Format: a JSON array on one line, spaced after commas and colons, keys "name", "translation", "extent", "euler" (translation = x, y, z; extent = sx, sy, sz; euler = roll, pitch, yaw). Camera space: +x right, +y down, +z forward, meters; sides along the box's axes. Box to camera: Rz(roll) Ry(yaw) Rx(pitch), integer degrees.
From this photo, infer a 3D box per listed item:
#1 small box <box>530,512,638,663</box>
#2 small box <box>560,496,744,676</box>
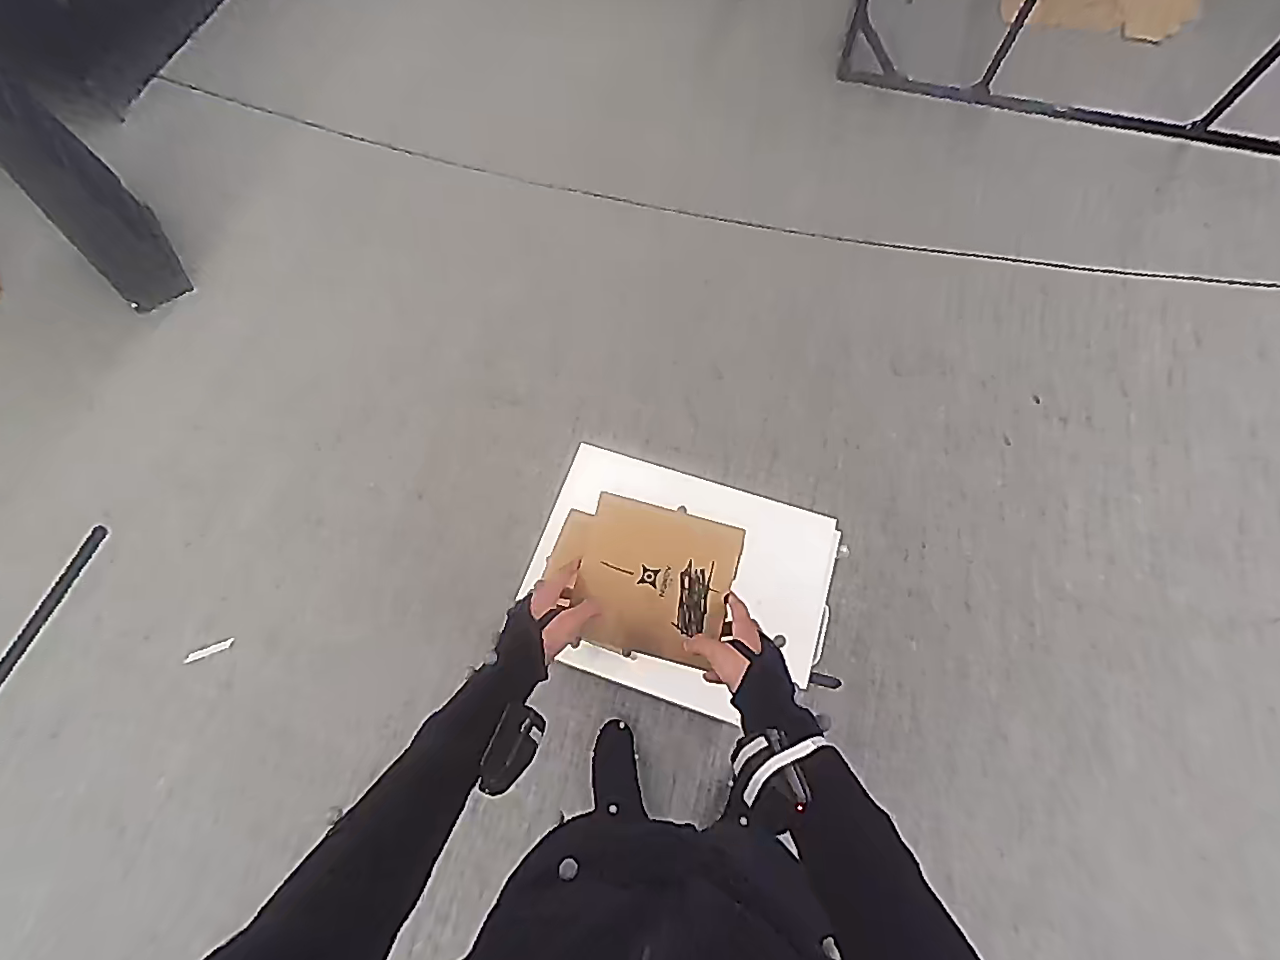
[{"name": "small box", "translation": [-0.056, 0.180, 0.874], "extent": [0.168, 0.176, 0.179], "euler": [18, 69, 9]}, {"name": "small box", "translation": [0.013, 0.132, 0.684], "extent": [0.179, 0.176, 0.168], "euler": [15, 78, 1]}]
